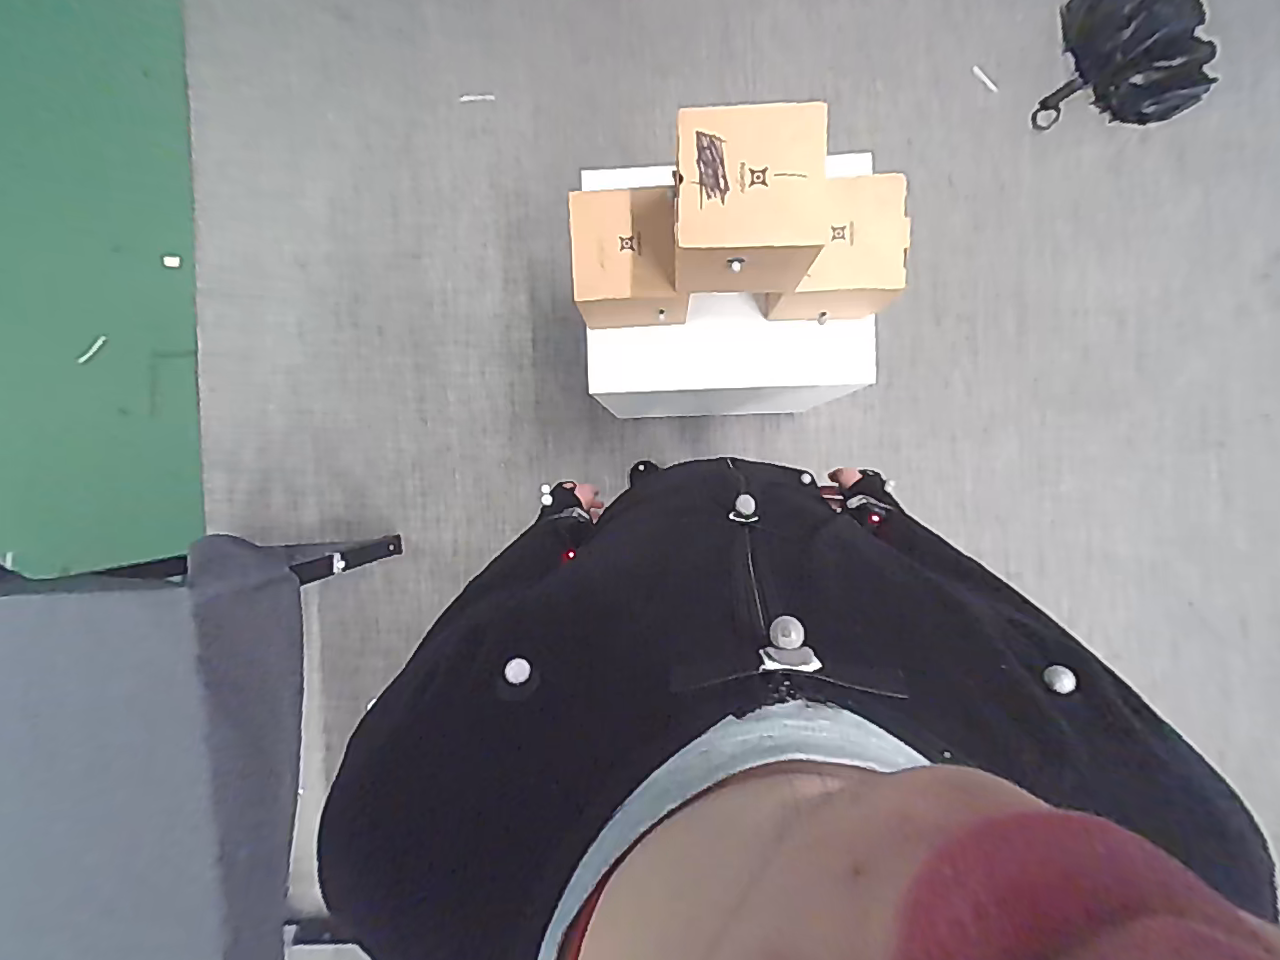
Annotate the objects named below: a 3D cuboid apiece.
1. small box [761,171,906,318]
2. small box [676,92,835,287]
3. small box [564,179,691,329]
[{"bbox_3d":[0.295,-0.360,0.852,0.179,0.176,0.168,-2,92,2],"label":"small box"},{"bbox_3d":[0.135,-0.355,0.690,0.179,0.176,0.168,-1,92,1],"label":"small box"},{"bbox_3d":[-0.018,-0.347,0.856,0.179,0.176,0.168,-4,90,1],"label":"small box"}]
